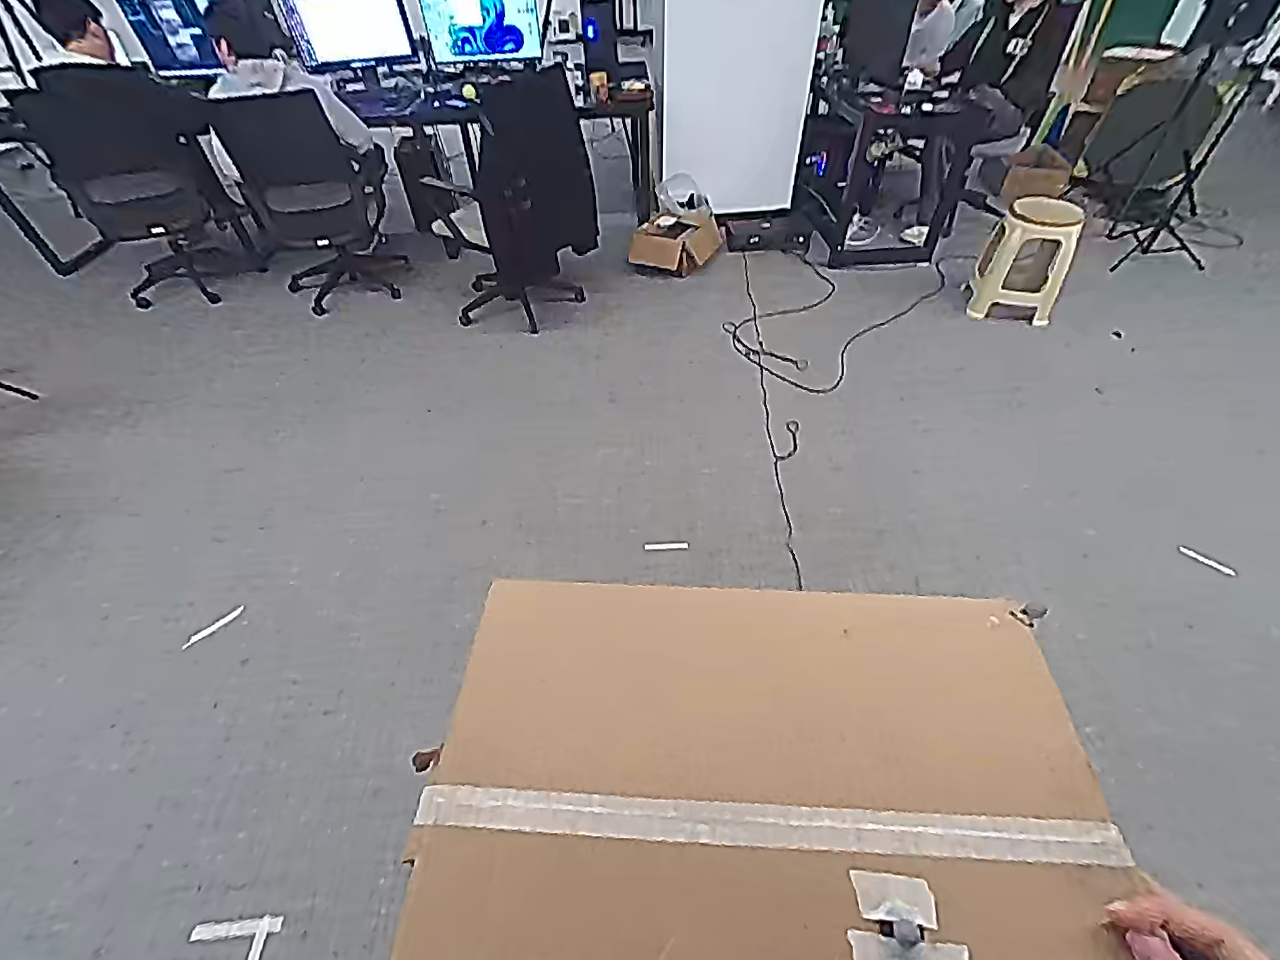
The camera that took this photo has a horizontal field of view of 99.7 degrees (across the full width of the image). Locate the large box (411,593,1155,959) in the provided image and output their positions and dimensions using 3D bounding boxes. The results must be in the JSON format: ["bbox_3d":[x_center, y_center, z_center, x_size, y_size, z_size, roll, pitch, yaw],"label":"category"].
[{"bbox_3d":[0.078,0.307,0.440,0.408,0.320,0.320,2,50,2],"label":"large box"}]
